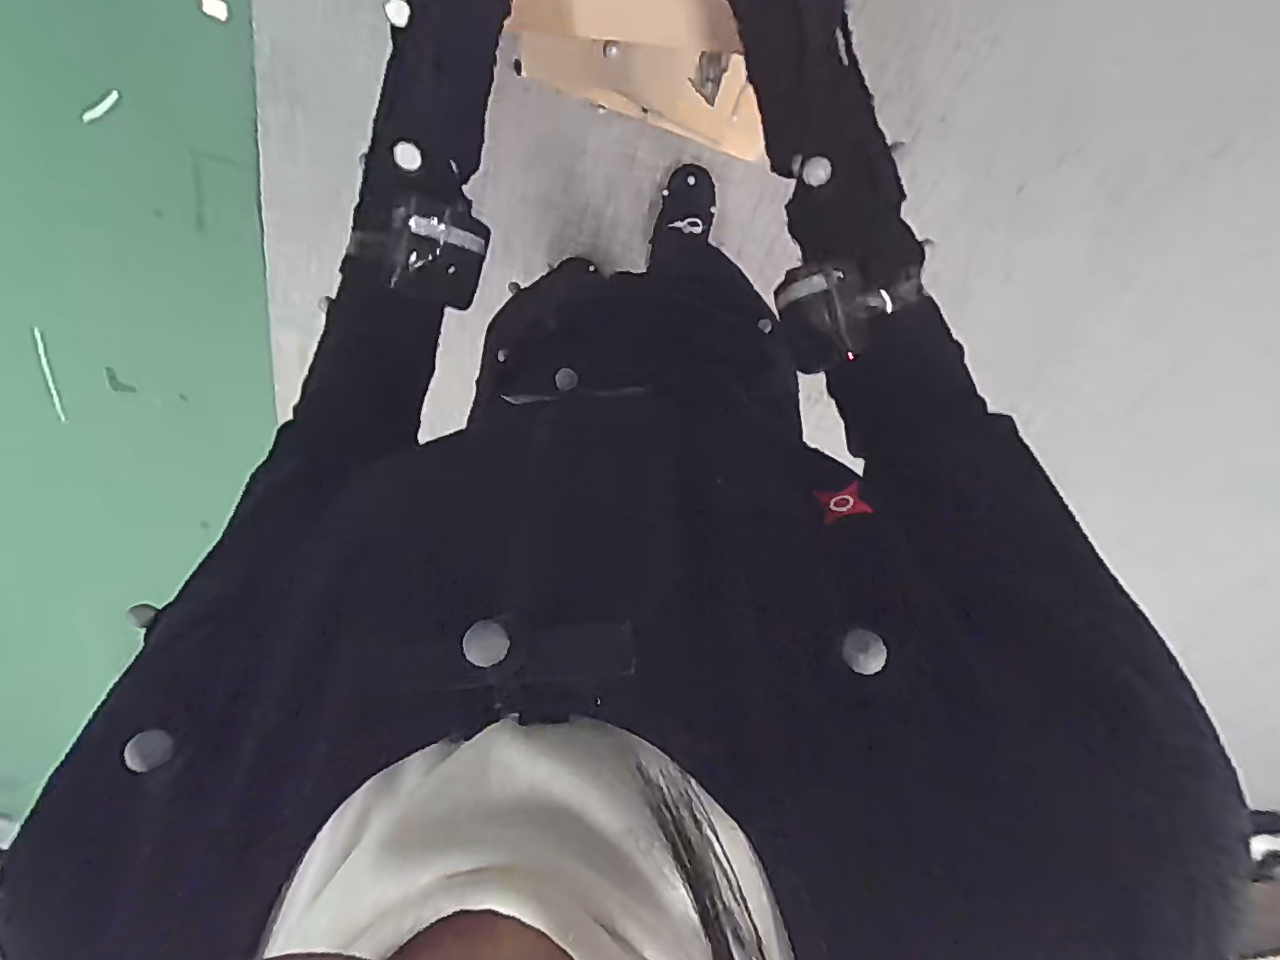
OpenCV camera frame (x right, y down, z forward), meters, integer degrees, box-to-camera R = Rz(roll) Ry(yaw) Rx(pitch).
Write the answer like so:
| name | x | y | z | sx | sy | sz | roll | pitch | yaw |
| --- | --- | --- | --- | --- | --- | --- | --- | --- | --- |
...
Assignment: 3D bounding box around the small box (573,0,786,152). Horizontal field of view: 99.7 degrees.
| name | x | y | z | sx | sy | sz | roll | pitch | yaw |
| --- | --- | --- | --- | --- | --- | --- | --- | --- | --- |
| small box | 0.046 | -0.500 | 0.609 | 0.179 | 0.176 | 0.168 | 23 | 123 | -8 |
